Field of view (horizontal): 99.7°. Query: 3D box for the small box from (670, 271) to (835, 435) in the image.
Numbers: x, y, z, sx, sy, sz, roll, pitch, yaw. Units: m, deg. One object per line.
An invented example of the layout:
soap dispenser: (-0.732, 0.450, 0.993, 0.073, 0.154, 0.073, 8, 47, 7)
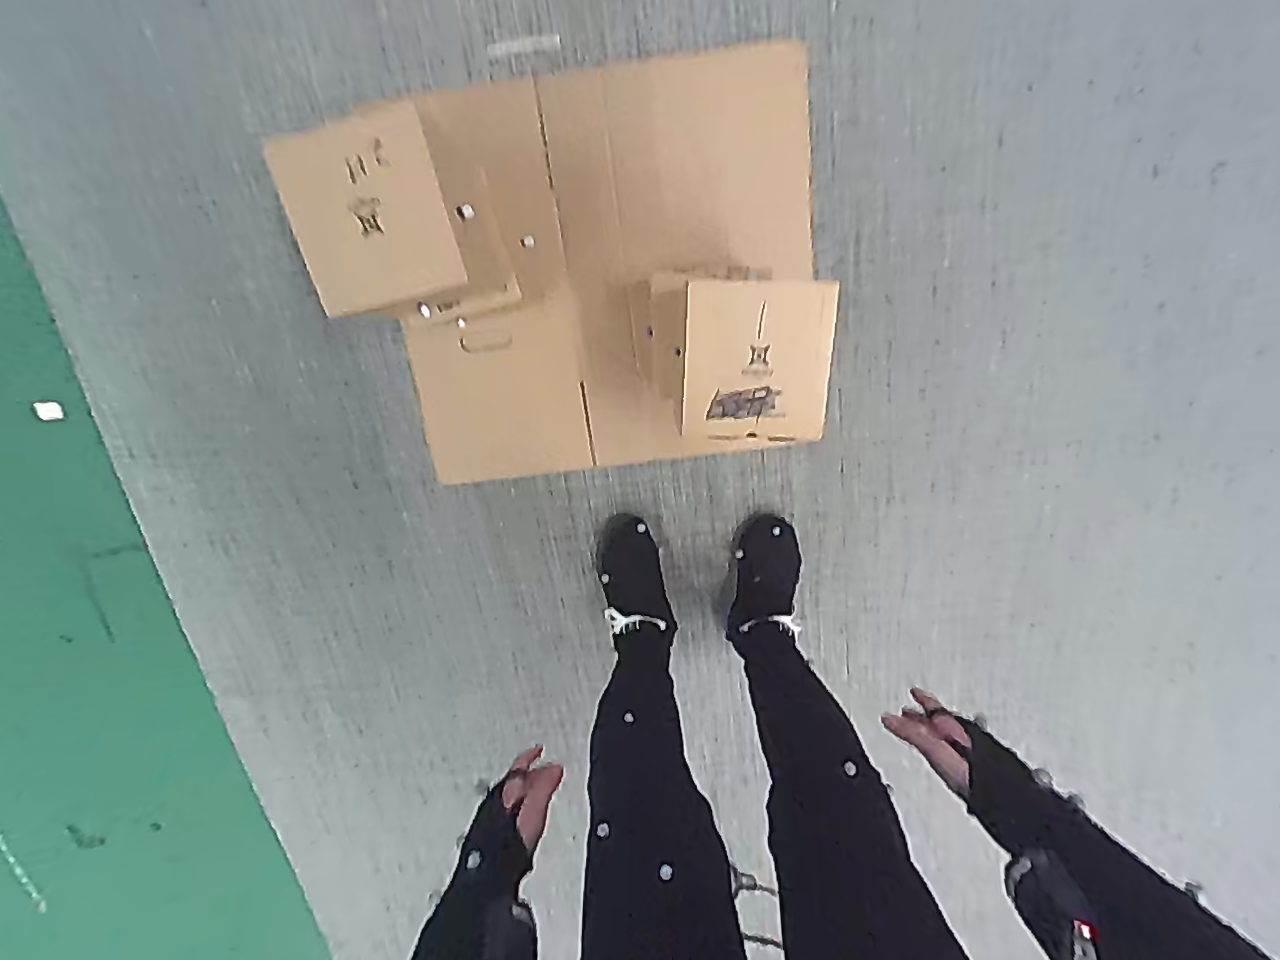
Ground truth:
small box: (0.126, -0.160, 0.678, 0.168, 0.176, 0.179, 2, 106, 0)

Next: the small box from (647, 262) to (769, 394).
small box: (0.097, -0.233, 0.827, 0.168, 0.176, 0.179, -2, 107, 2)

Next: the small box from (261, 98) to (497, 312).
small box: (-0.284, -0.304, 0.638, 0.168, 0.176, 0.179, -12, 106, 3)

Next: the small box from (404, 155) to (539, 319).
small box: (-0.262, -0.342, 0.798, 0.168, 0.176, 0.179, -13, 106, 4)
